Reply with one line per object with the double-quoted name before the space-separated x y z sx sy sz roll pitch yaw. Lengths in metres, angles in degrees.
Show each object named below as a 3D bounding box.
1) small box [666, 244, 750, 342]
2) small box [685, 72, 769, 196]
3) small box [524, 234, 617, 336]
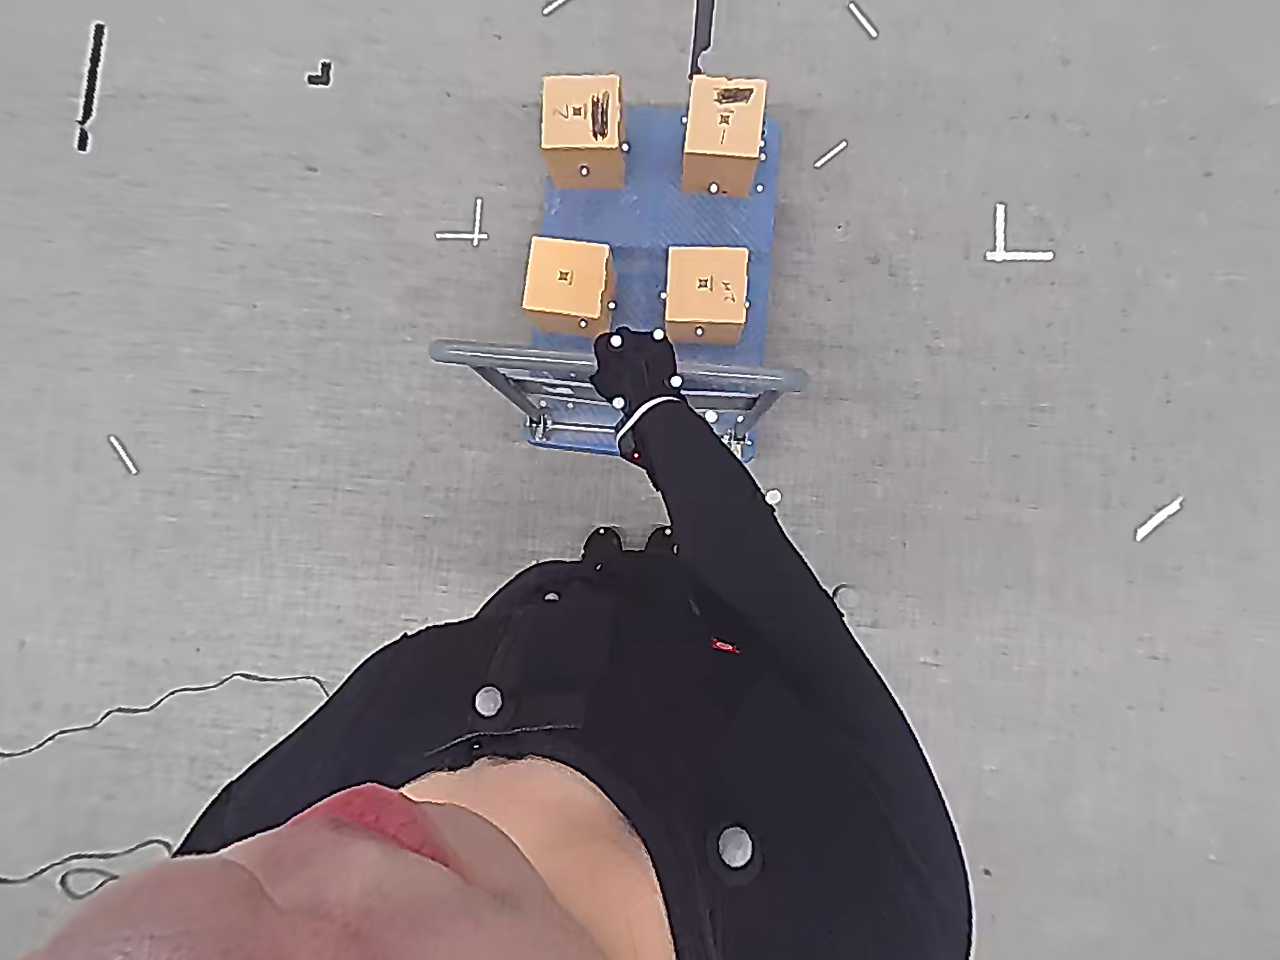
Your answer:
"small box" 0.152 -0.424 1.248 0.179 0.176 0.168 3 89 4
"small box" 0.195 -0.796 1.257 0.168 0.176 0.179 7 90 4
"small box" -0.156 -0.449 1.267 0.179 0.176 0.168 7 88 2
